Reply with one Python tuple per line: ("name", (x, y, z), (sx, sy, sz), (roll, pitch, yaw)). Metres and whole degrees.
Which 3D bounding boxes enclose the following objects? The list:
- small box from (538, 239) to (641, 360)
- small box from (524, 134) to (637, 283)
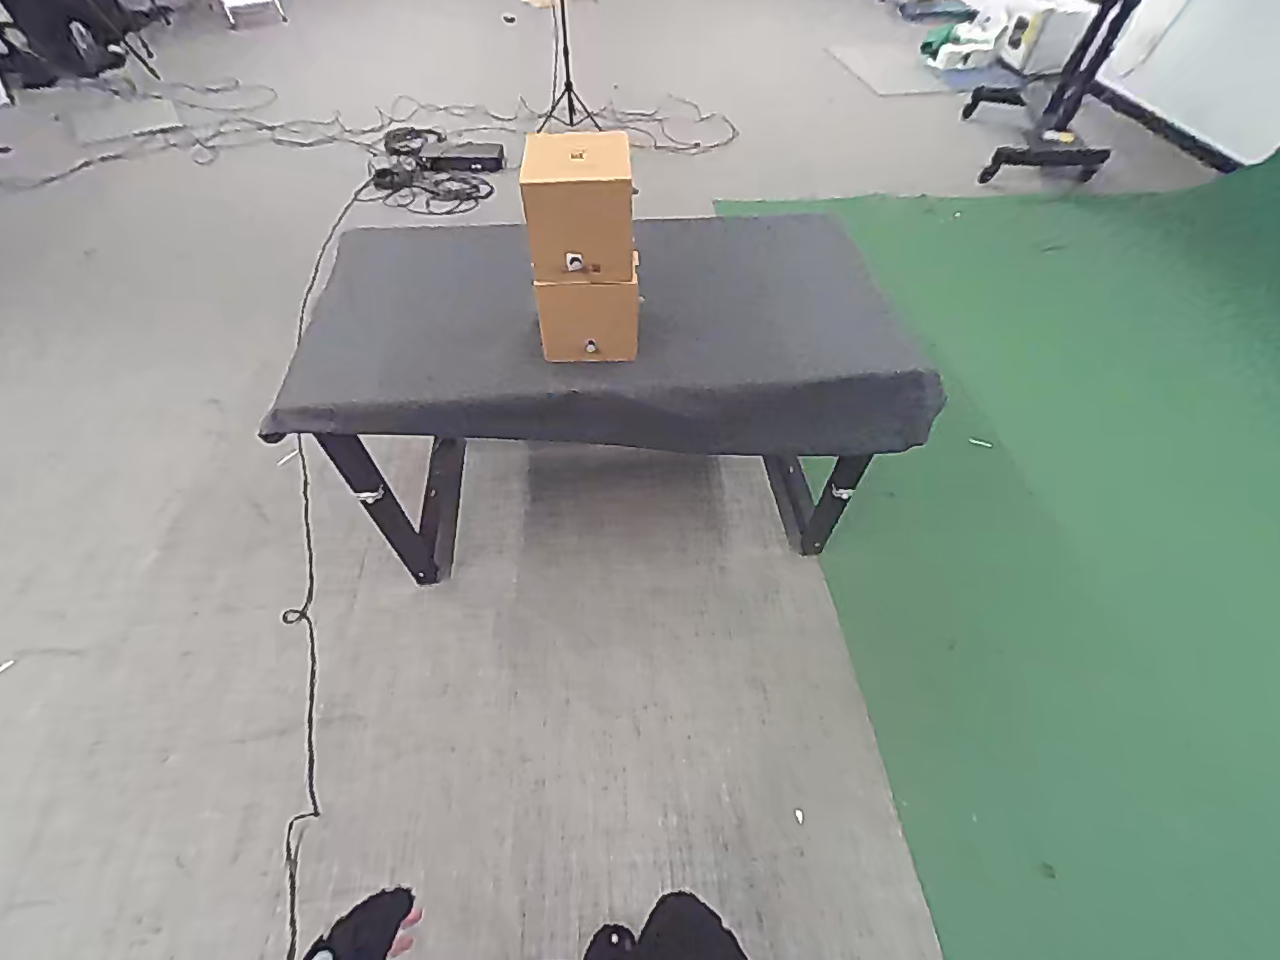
("small box", (-0.091, -0.342, 1.023), (0.179, 0.176, 0.168), (-1, 52, -3))
("small box", (-0.091, -0.448, 0.900), (0.168, 0.176, 0.179), (-3, 54, -1))
